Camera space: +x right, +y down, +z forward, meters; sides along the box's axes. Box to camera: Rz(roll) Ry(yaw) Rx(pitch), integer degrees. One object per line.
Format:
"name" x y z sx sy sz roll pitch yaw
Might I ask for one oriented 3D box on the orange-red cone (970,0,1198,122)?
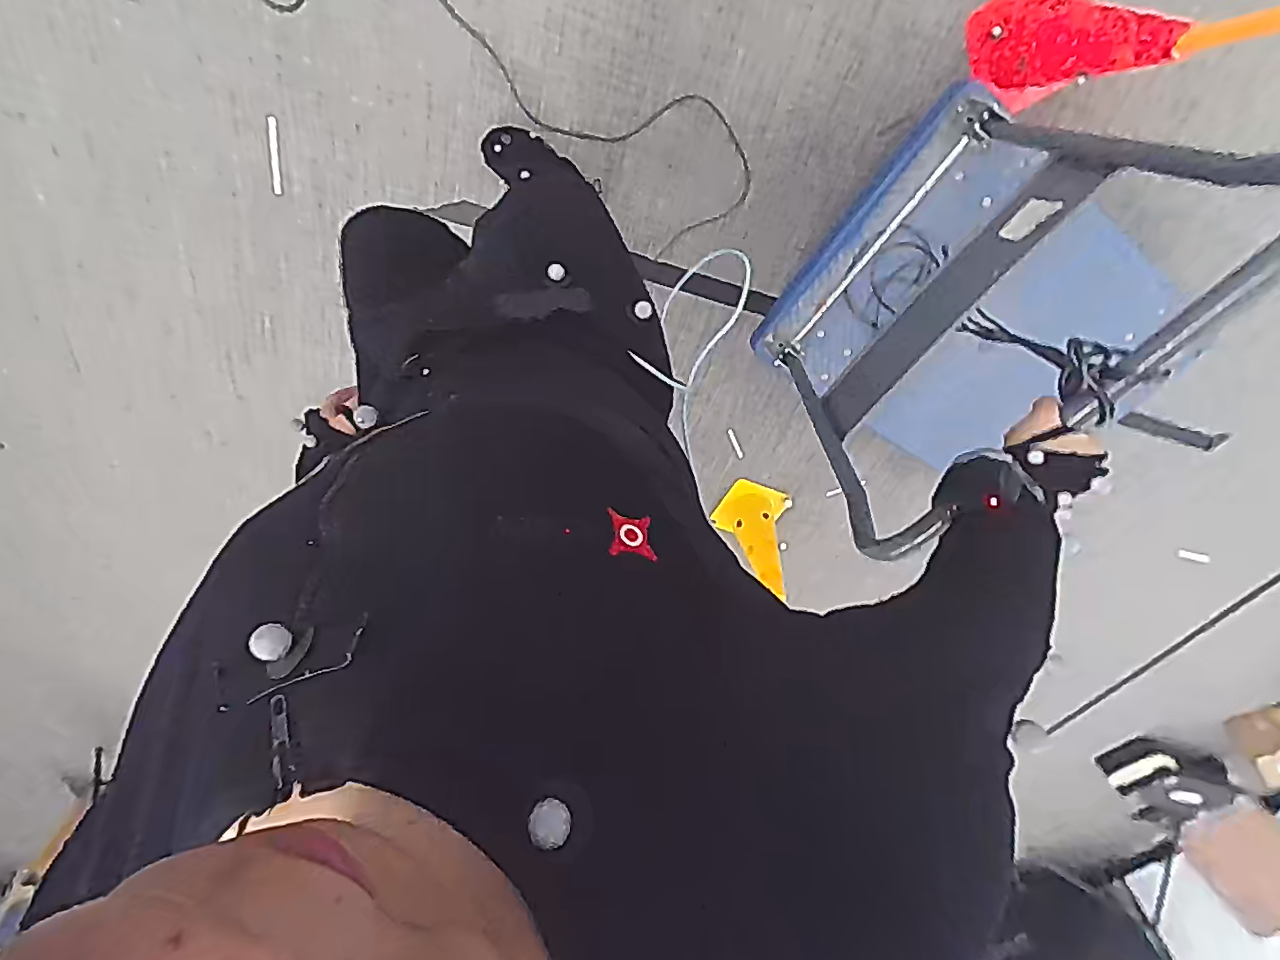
"orange-red cone" 0.718 -0.691 0.855 0.198 0.360 0.199 -23 127 16
